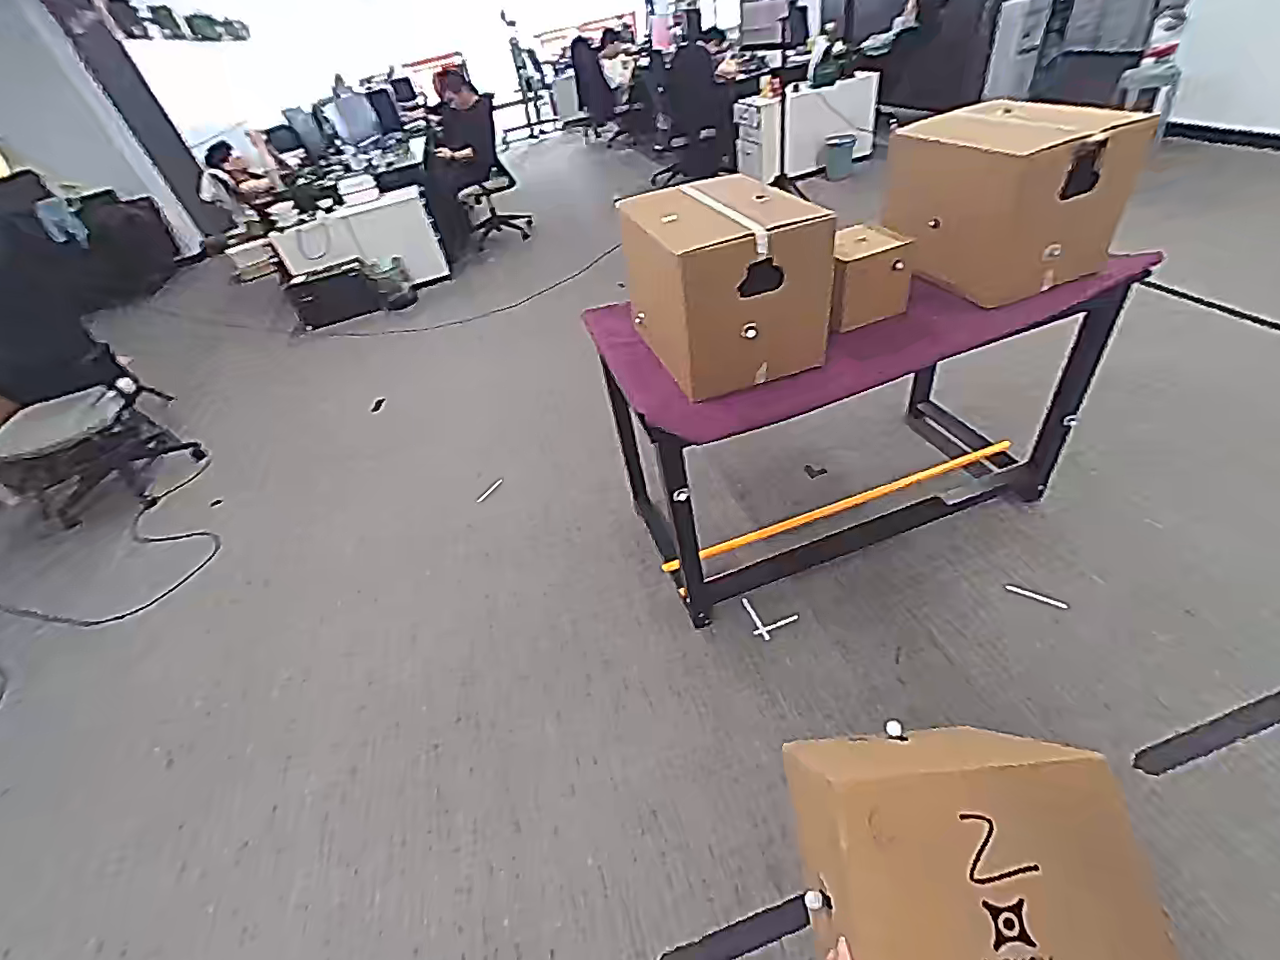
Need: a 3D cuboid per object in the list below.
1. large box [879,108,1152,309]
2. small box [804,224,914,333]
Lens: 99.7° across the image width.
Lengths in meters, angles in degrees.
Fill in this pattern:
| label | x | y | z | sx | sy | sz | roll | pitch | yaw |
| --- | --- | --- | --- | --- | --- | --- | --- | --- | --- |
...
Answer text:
| label | x | y | z | sx | sy | sz | roll | pitch | yaw |
| --- | --- | --- | --- | --- | --- | --- | --- | --- | --- |
| large box | 0.826 | -0.649 | 1.275 | 0.320 | 0.320 | 0.408 | -19 | 40 | -7 |
| small box | 0.501 | -0.471 | 1.266 | 0.179 | 0.176 | 0.168 | -20 | 41 | -7 |
